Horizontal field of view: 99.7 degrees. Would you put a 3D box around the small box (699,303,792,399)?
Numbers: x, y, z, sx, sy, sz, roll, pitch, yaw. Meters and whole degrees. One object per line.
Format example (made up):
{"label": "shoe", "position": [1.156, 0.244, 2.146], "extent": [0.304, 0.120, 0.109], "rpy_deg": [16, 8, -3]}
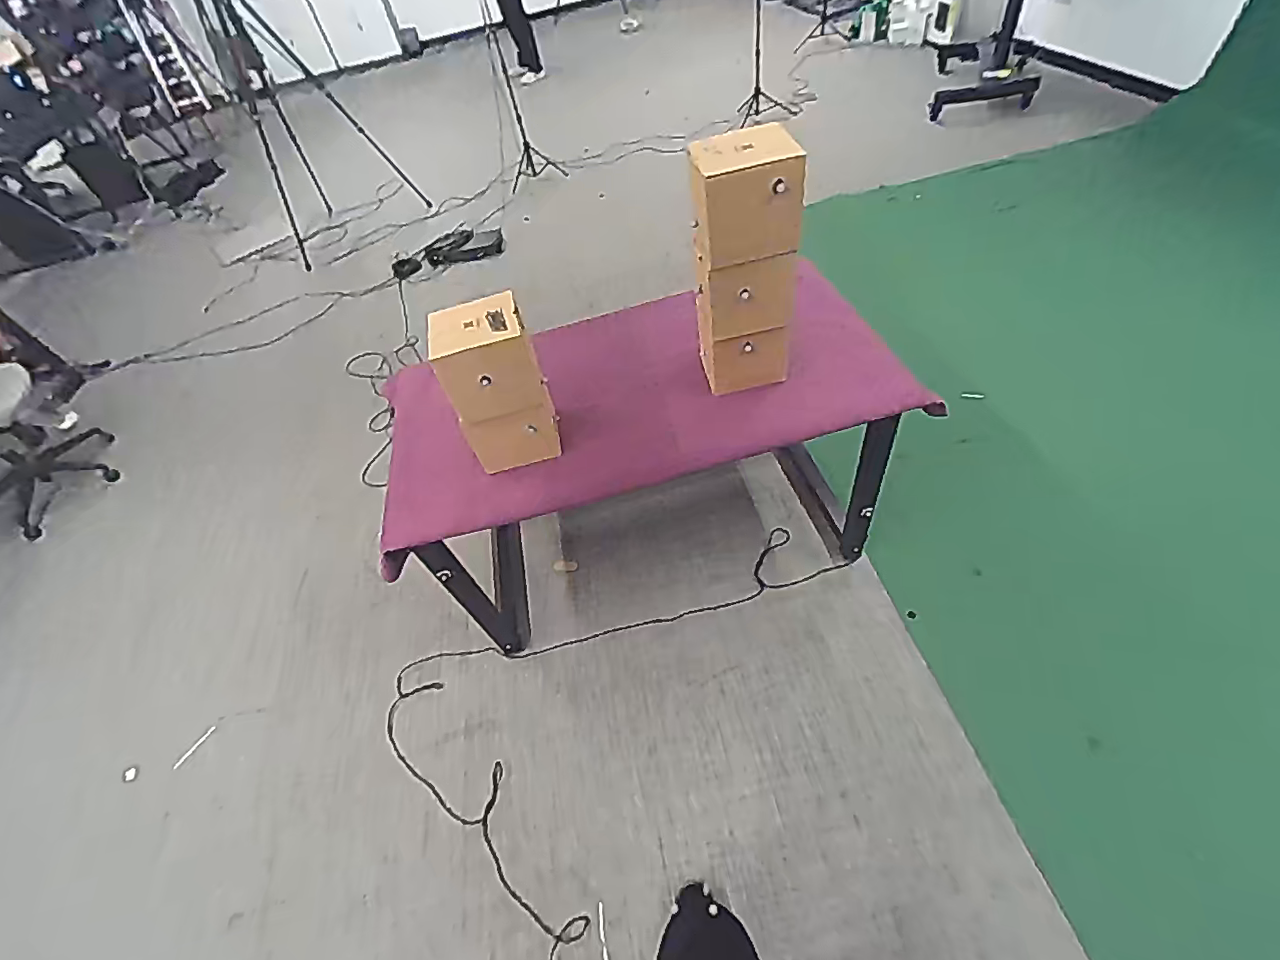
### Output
{"label": "small box", "position": [0.242, -0.315, 1.266], "extent": [0.179, 0.176, 0.168], "rpy_deg": [-11, 50, 2]}

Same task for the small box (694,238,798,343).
{"label": "small box", "position": [0.220, -0.410, 1.134], "extent": [0.179, 0.176, 0.168], "rpy_deg": [-11, 50, 3]}

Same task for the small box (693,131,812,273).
{"label": "small box", "position": [0.202, -0.512, 1.005], "extent": [0.179, 0.176, 0.168], "rpy_deg": [-11, 49, 2]}

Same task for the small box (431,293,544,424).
{"label": "small box", "position": [-0.299, -0.240, 1.083], "extent": [0.179, 0.176, 0.168], "rpy_deg": [-16, 50, -3]}
